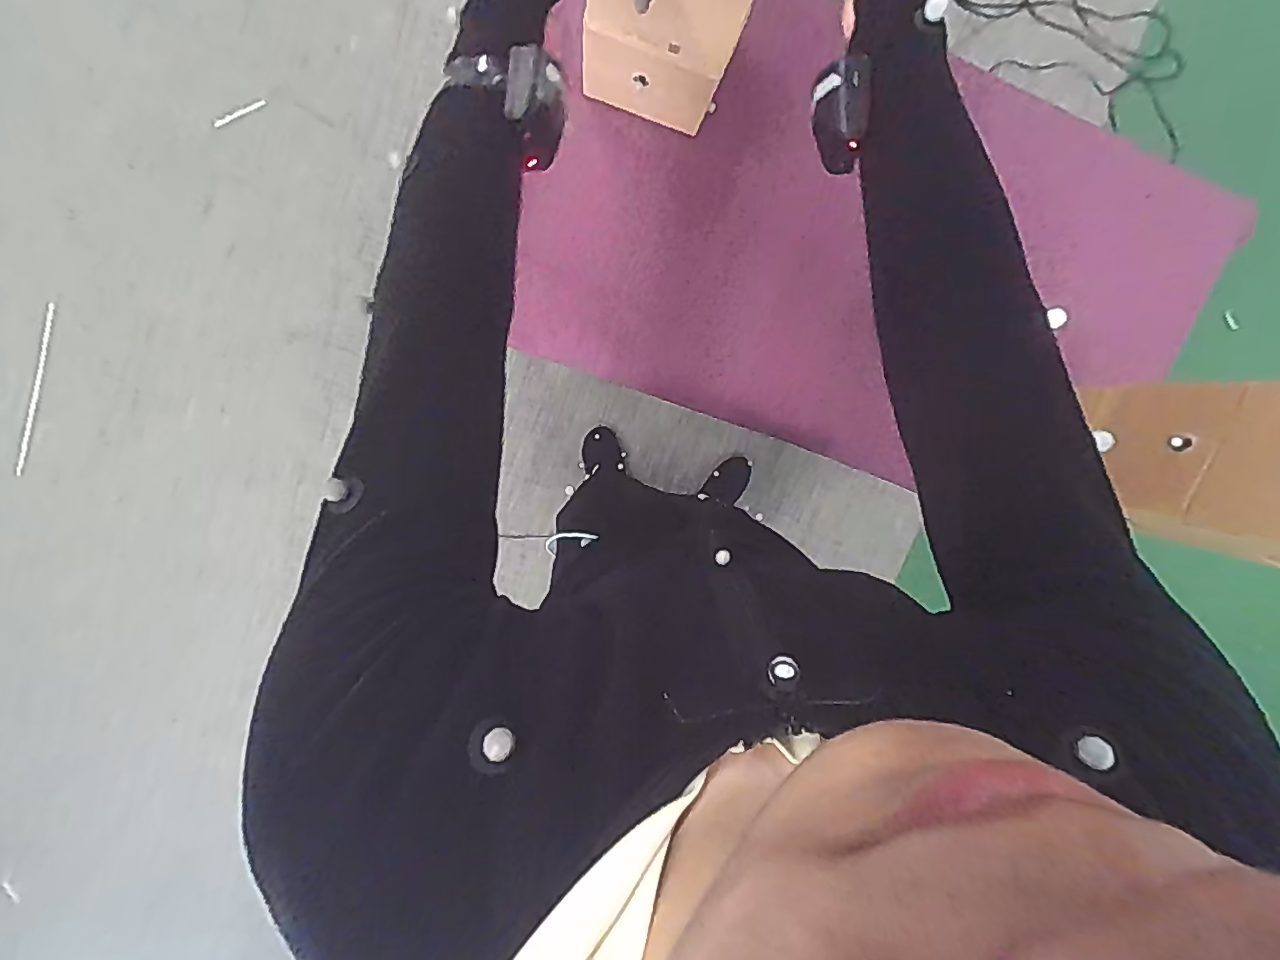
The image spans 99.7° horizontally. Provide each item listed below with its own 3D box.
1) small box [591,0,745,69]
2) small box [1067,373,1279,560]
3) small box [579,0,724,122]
[{"bbox_3d":[0.047,-0.570,0.543,0.168,0.176,0.179,16,97,-8],"label":"small box"},{"bbox_3d":[0.721,-0.025,0.707,0.168,0.176,0.179,23,97,-7],"label":"small box"},{"bbox_3d":[0.027,-0.605,0.700,0.179,0.176,0.168,15,98,-8],"label":"small box"}]
